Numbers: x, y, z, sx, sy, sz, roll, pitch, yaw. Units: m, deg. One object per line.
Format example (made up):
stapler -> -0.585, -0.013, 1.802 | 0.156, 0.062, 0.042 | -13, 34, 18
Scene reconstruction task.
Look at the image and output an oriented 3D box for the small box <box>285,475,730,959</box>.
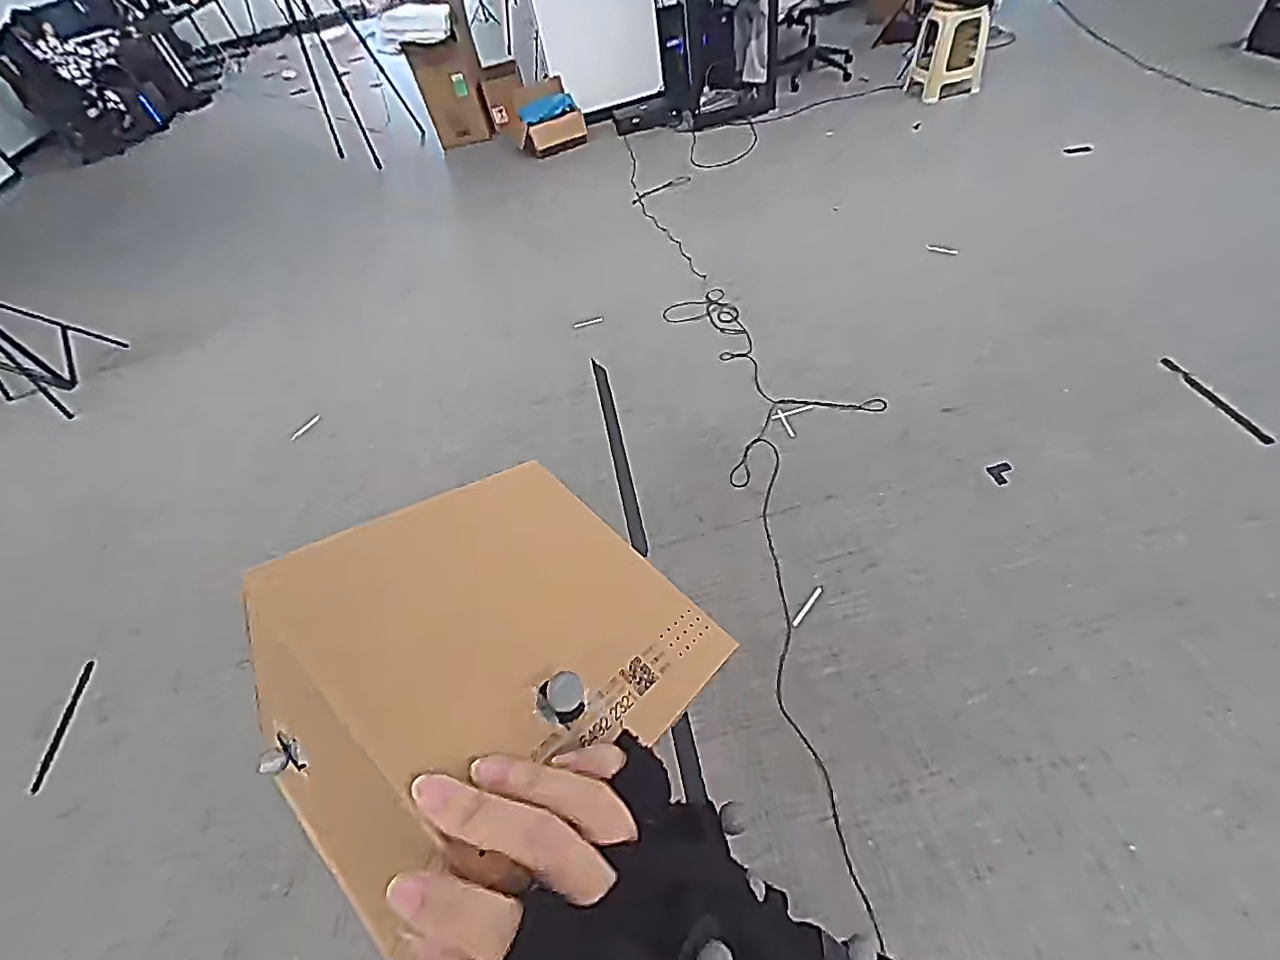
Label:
small box -> -0.079, 0.132, 0.321 | 0.176, 0.179, 0.168 | 40, 37, 18
